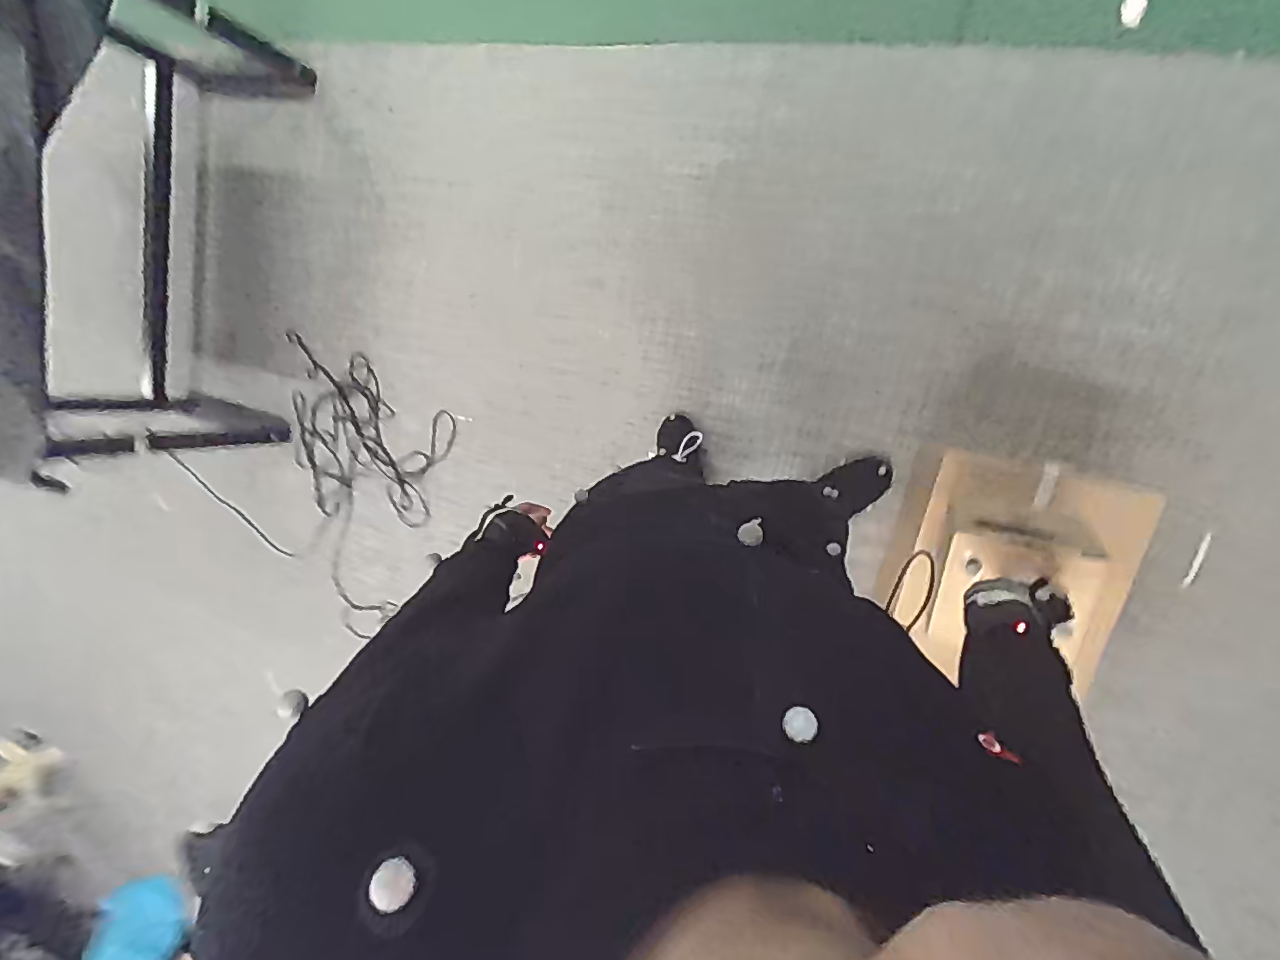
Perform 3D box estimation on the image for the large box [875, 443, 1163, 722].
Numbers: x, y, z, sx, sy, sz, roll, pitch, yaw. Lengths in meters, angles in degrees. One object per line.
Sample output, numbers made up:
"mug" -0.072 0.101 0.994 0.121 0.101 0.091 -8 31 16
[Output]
"large box" 0.677 0.161 1.050 0.320 0.320 0.408 16 104 19
